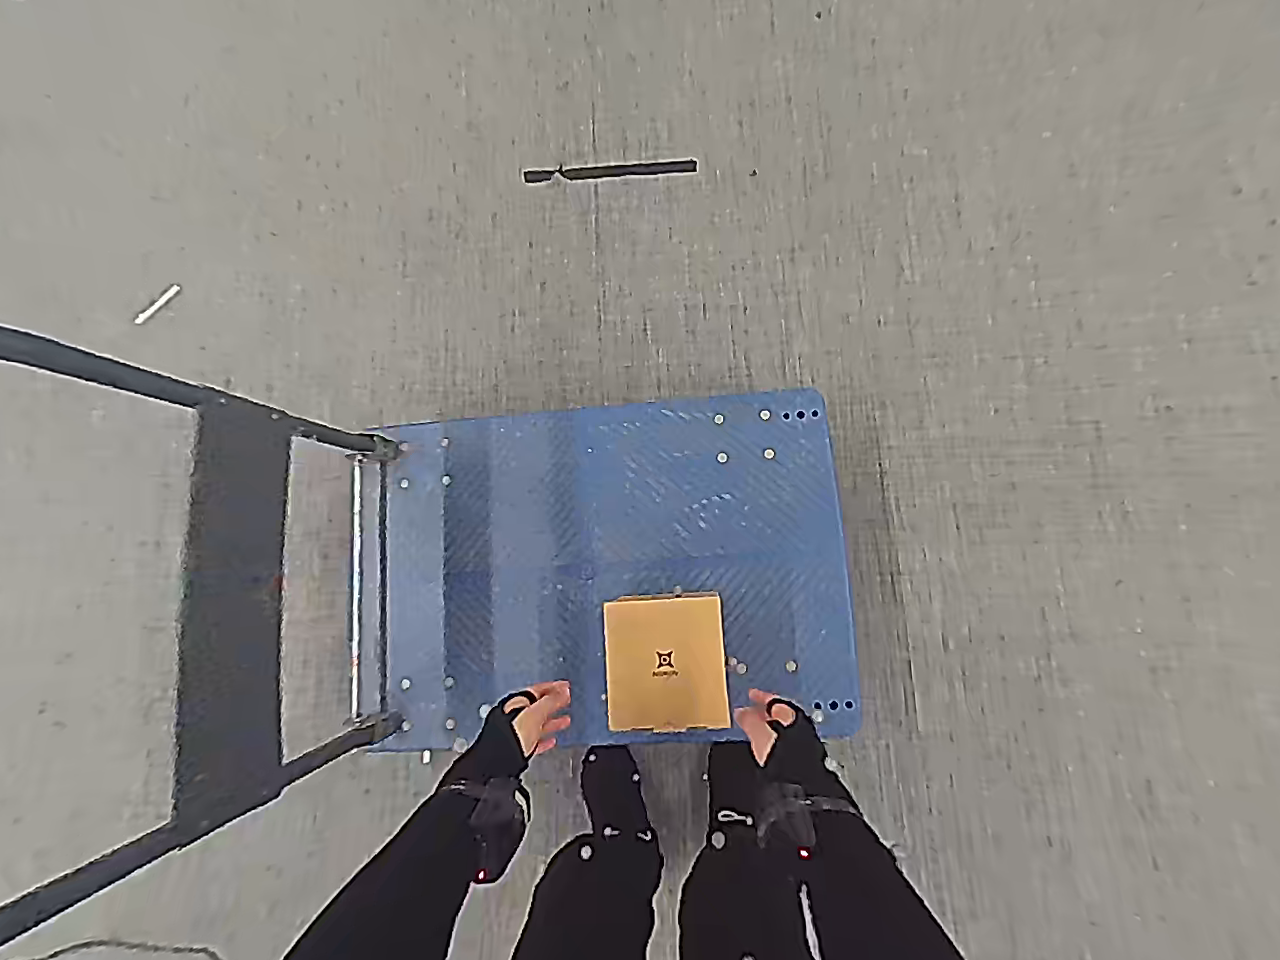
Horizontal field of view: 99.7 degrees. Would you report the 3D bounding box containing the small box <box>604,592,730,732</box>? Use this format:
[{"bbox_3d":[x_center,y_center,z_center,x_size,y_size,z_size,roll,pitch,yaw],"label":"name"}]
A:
[{"bbox_3d":[0.041,0.263,0.816,0.168,0.176,0.179,-5,81,5],"label":"small box"}]
